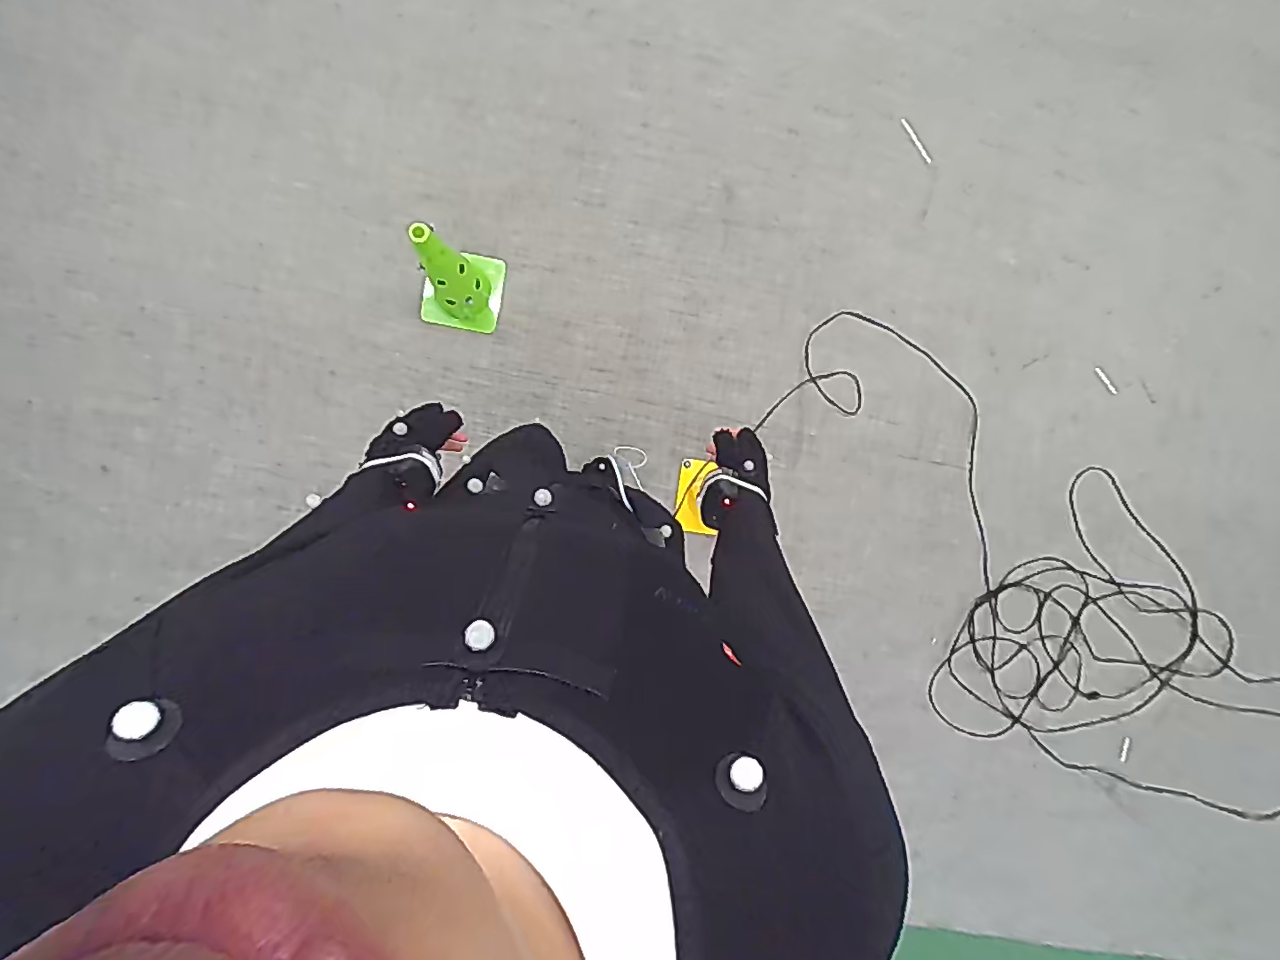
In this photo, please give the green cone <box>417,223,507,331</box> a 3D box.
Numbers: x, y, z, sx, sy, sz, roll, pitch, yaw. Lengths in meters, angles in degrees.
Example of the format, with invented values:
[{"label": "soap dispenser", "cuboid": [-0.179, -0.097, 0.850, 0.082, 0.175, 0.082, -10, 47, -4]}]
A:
[{"label": "green cone", "cuboid": [-0.452, -0.503, 1.267, 0.202, 0.368, 0.200, 10, 91, -5]}]
